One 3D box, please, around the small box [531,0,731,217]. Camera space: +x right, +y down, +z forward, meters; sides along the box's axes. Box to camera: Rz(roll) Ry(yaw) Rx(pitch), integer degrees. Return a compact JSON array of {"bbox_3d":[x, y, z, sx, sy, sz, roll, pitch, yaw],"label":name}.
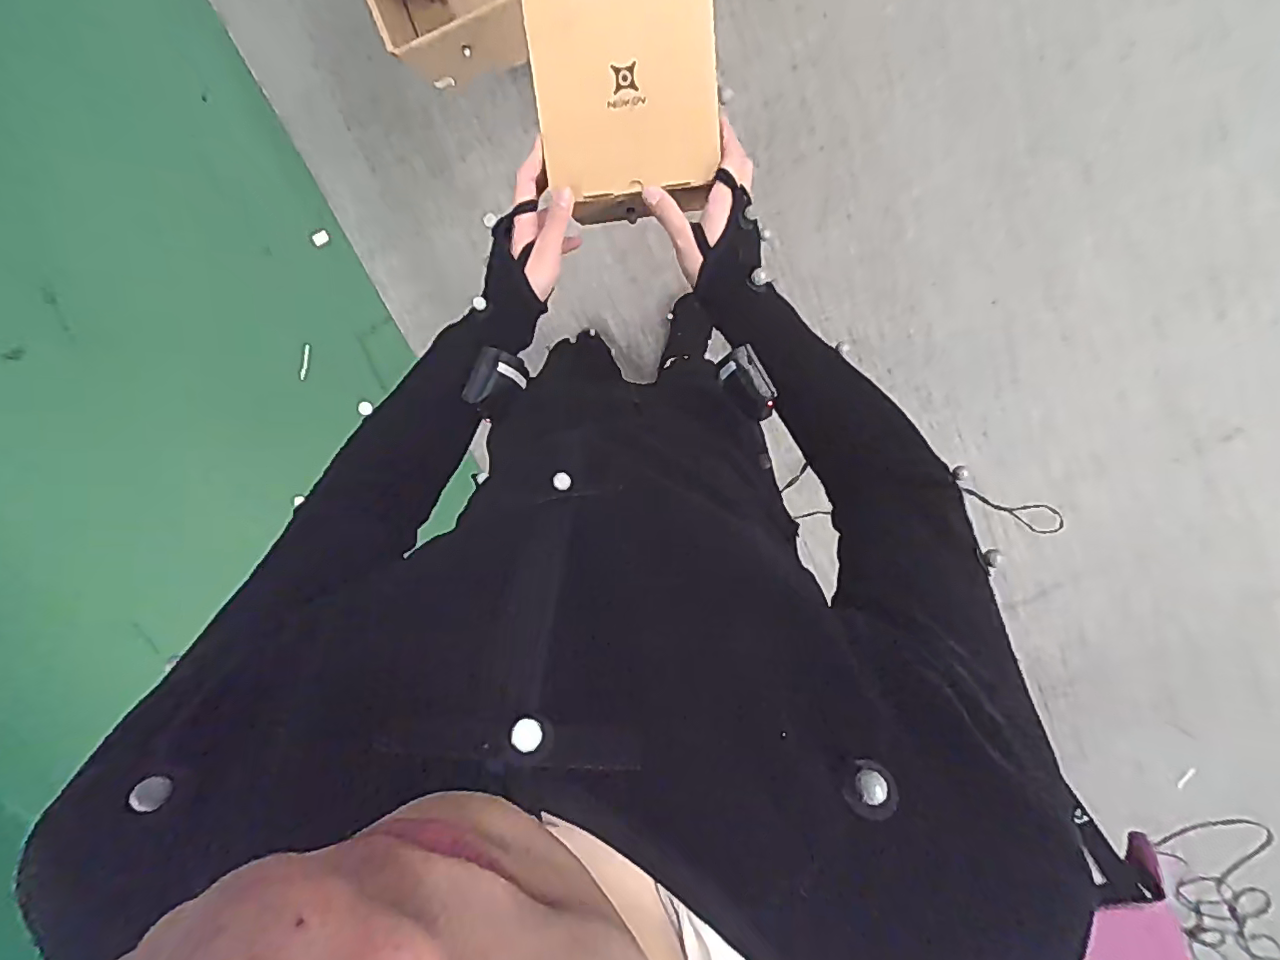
[{"bbox_3d":[-0.004,-0.380,0.547,0.168,0.176,0.179,-5,110,4],"label":"small box"}]
